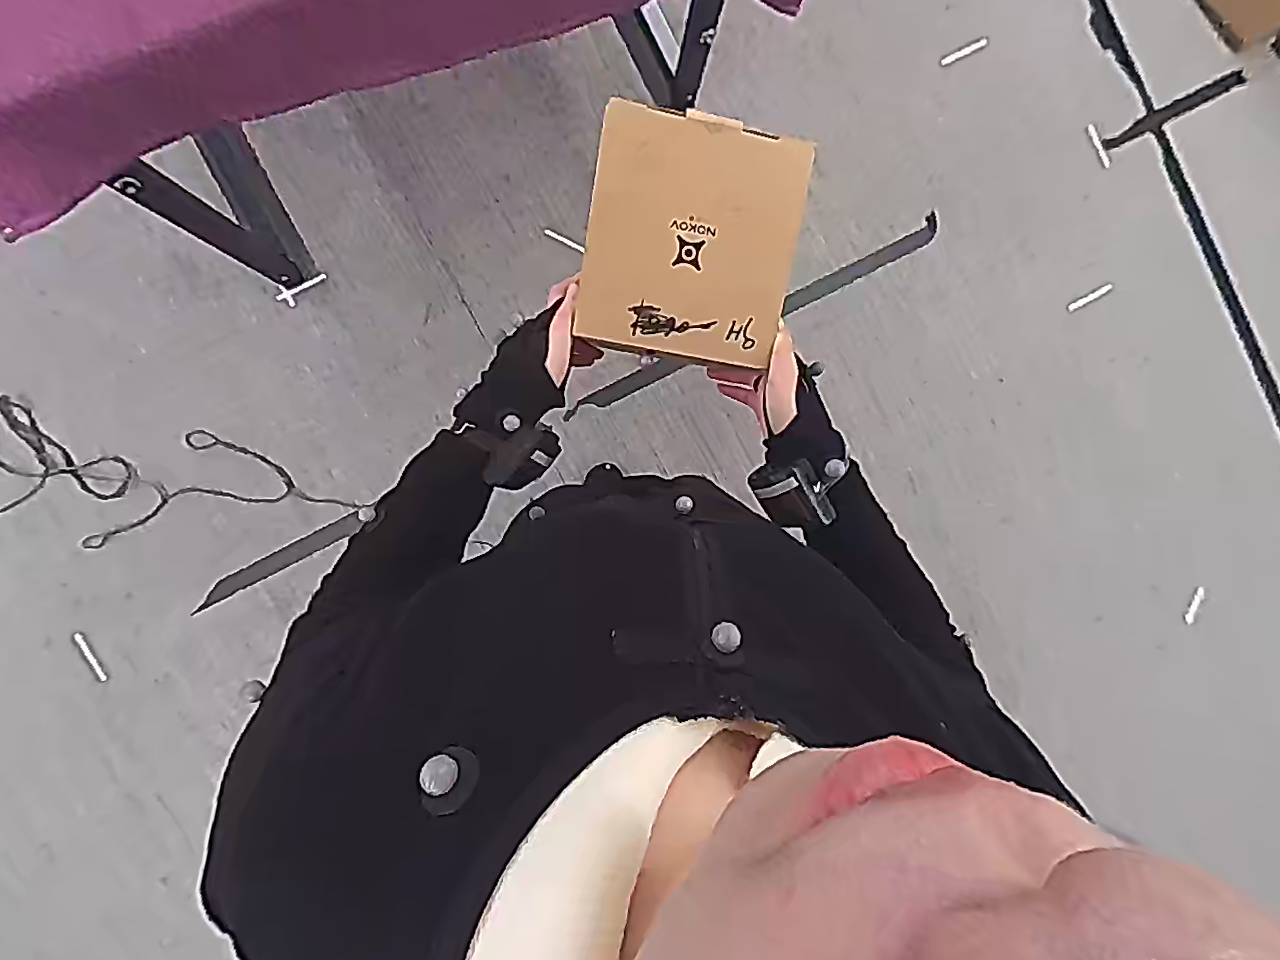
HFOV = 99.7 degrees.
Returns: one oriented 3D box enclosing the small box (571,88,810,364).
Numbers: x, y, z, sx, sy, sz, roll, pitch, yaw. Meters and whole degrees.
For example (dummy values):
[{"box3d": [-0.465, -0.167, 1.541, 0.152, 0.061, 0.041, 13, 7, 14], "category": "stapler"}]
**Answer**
[{"box3d": [0.032, -0.209, 0.500, 0.168, 0.176, 0.179, 9, 101, -6], "category": "small box"}]
